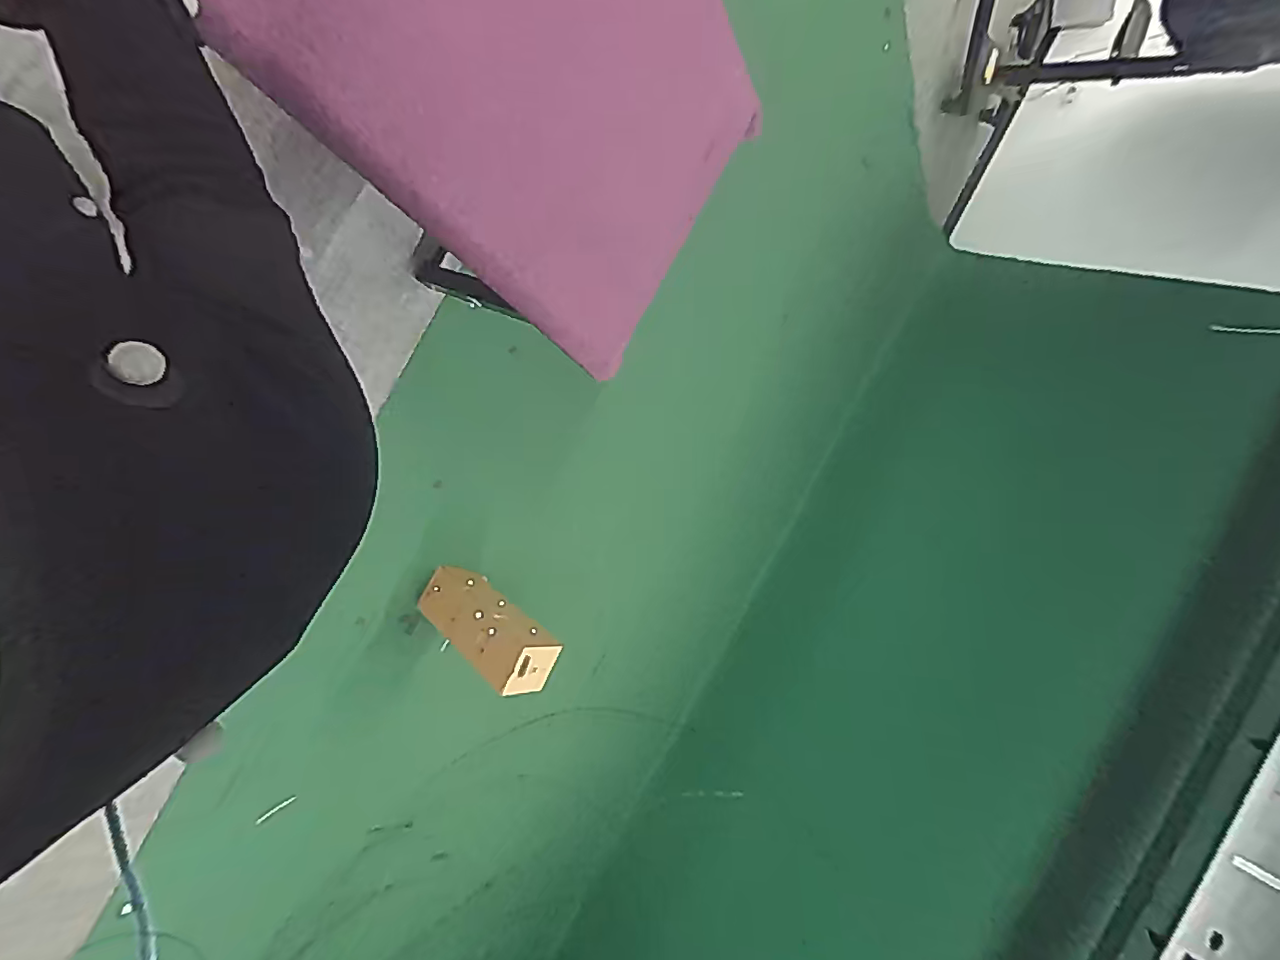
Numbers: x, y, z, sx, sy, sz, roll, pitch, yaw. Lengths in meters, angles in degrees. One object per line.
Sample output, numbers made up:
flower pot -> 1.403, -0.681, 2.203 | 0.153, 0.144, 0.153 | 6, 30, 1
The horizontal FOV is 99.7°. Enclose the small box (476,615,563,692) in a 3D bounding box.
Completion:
small box -> -0.382, 0.540, 1.699 | 0.179, 0.176, 0.168 | 22, 96, -55

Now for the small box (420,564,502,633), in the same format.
small box -> -0.624, 0.411, 1.882 | 0.179, 0.176, 0.168 | 31, 87, -53
